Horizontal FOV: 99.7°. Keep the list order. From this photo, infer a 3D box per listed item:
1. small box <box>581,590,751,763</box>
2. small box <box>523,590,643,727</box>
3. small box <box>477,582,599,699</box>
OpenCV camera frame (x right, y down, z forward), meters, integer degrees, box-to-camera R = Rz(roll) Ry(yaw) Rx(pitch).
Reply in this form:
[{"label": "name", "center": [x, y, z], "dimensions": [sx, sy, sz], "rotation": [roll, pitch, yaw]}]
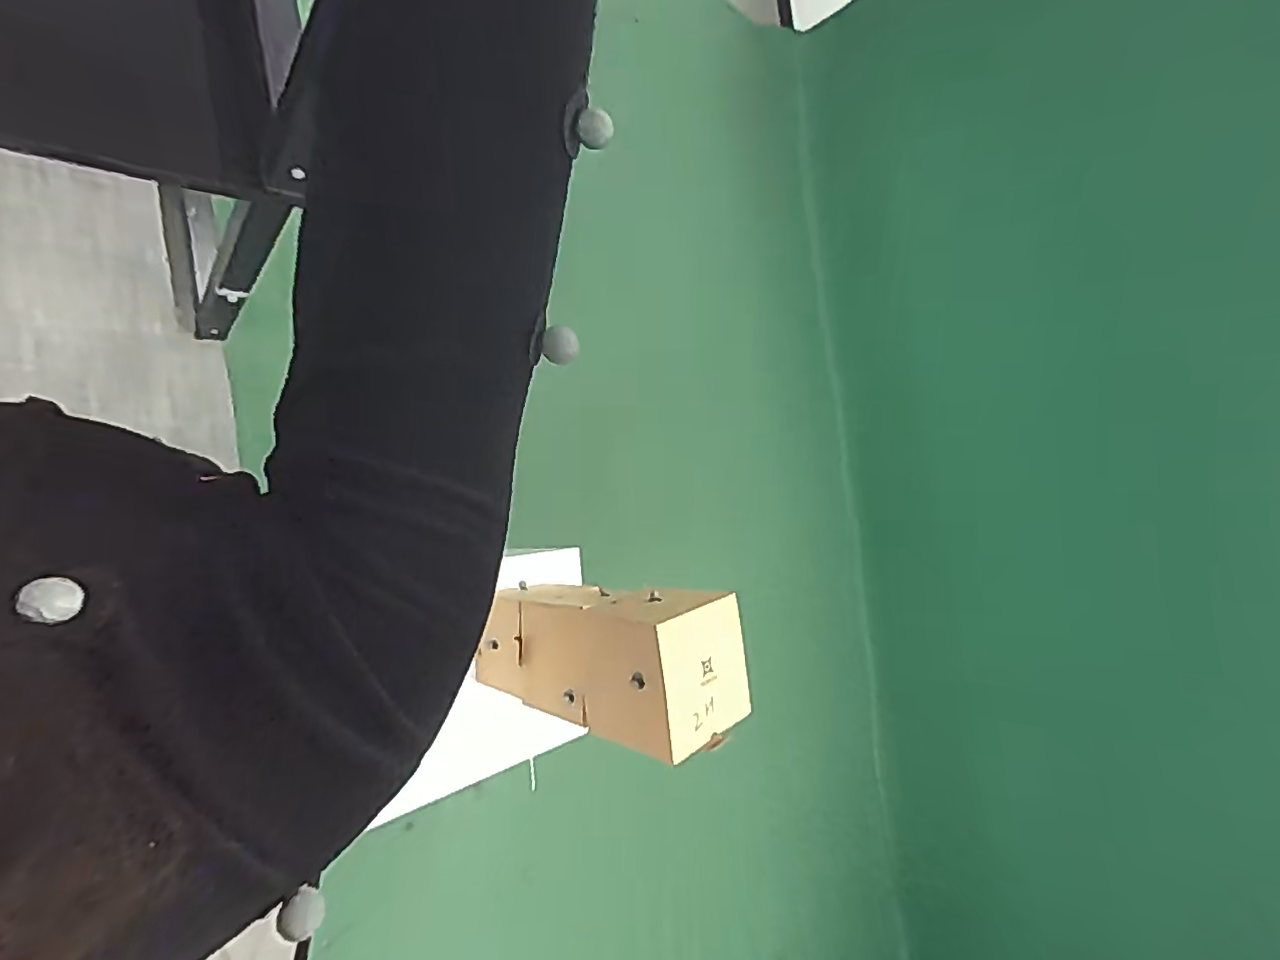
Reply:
[{"label": "small box", "center": [0.032, 0.256, 0.760], "dimensions": [0.168, 0.176, 0.179], "rotation": [-8, 91, -44]}, {"label": "small box", "center": [-0.078, 0.275, 0.882], "dimensions": [0.168, 0.176, 0.179], "rotation": [3, 84, -44]}, {"label": "small box", "center": [-0.190, 0.285, 1.000], "dimensions": [0.179, 0.176, 0.168], "rotation": [-1, 86, -44]}]
